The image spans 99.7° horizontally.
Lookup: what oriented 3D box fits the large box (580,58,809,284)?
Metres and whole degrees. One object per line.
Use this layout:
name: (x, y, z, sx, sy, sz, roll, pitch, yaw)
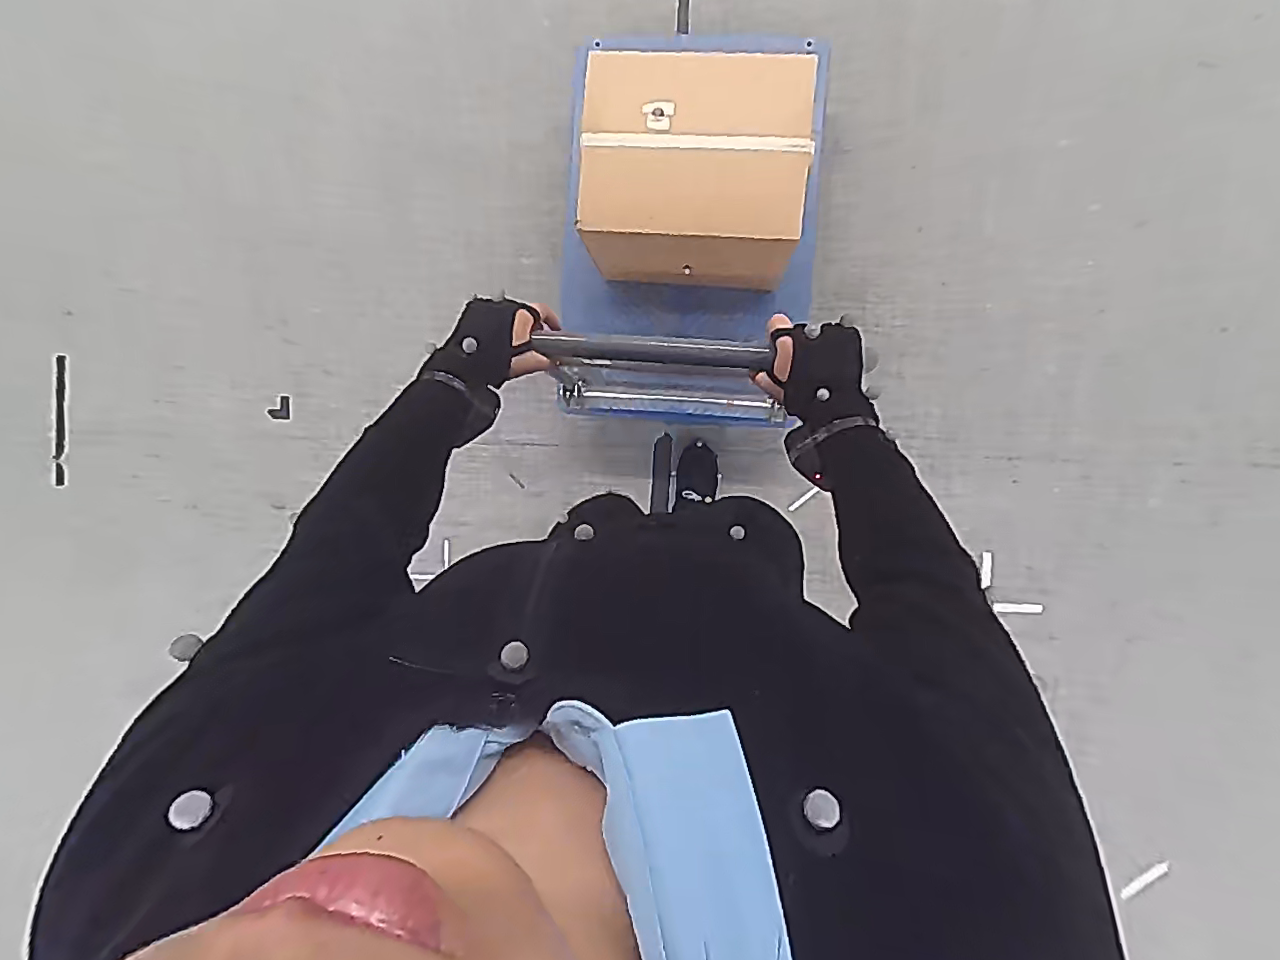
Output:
large box: (0.112, -0.610, 1.126, 0.408, 0.320, 0.320, 5, 93, 6)
